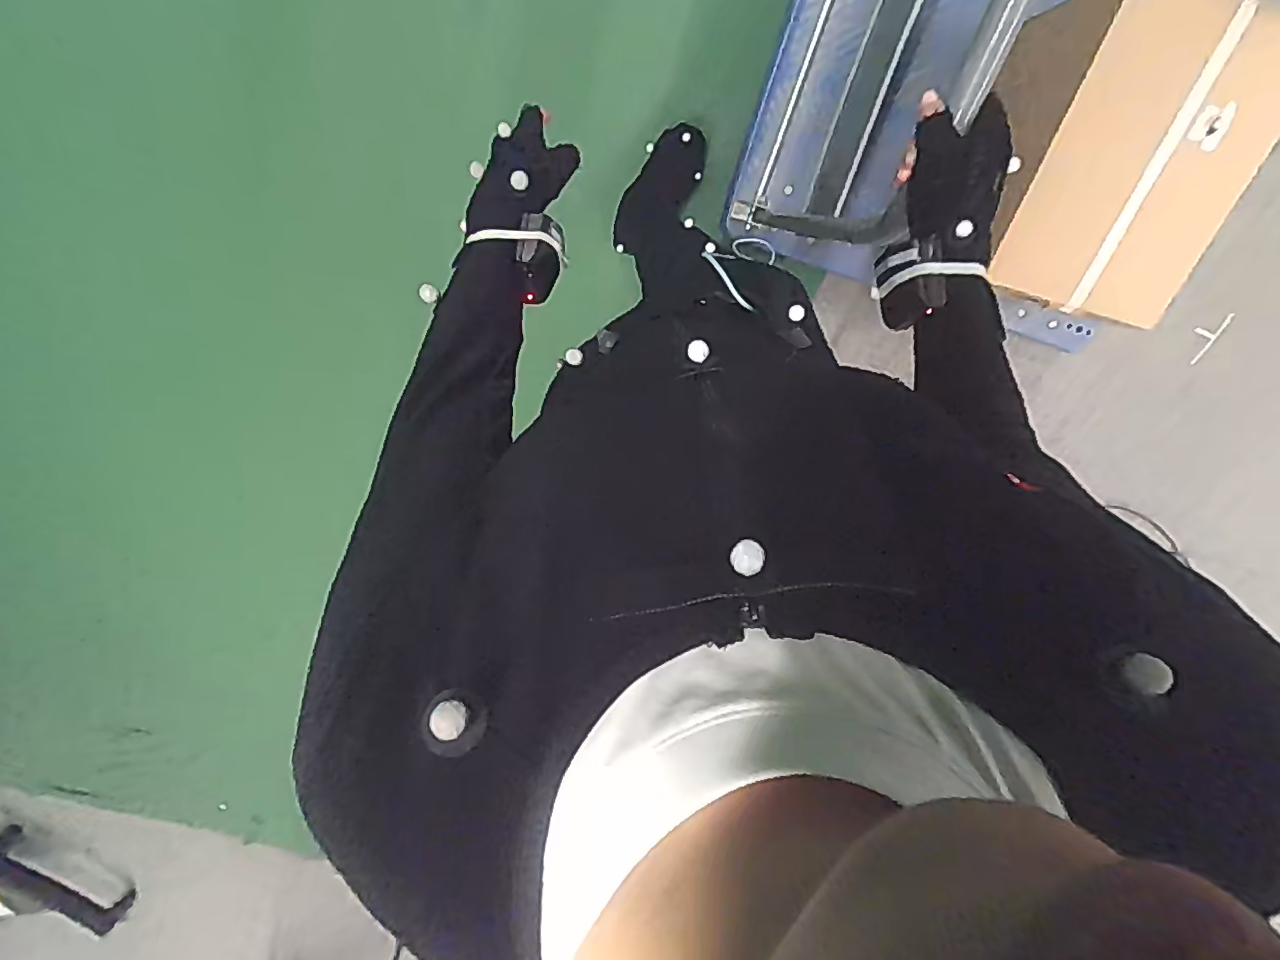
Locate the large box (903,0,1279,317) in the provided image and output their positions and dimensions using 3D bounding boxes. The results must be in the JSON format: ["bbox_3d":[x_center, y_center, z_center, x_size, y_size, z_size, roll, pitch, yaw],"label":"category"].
[{"bbox_3d":[0.735,-0.534,0.930,0.320,0.320,0.408,13,114,-7],"label":"large box"}]
